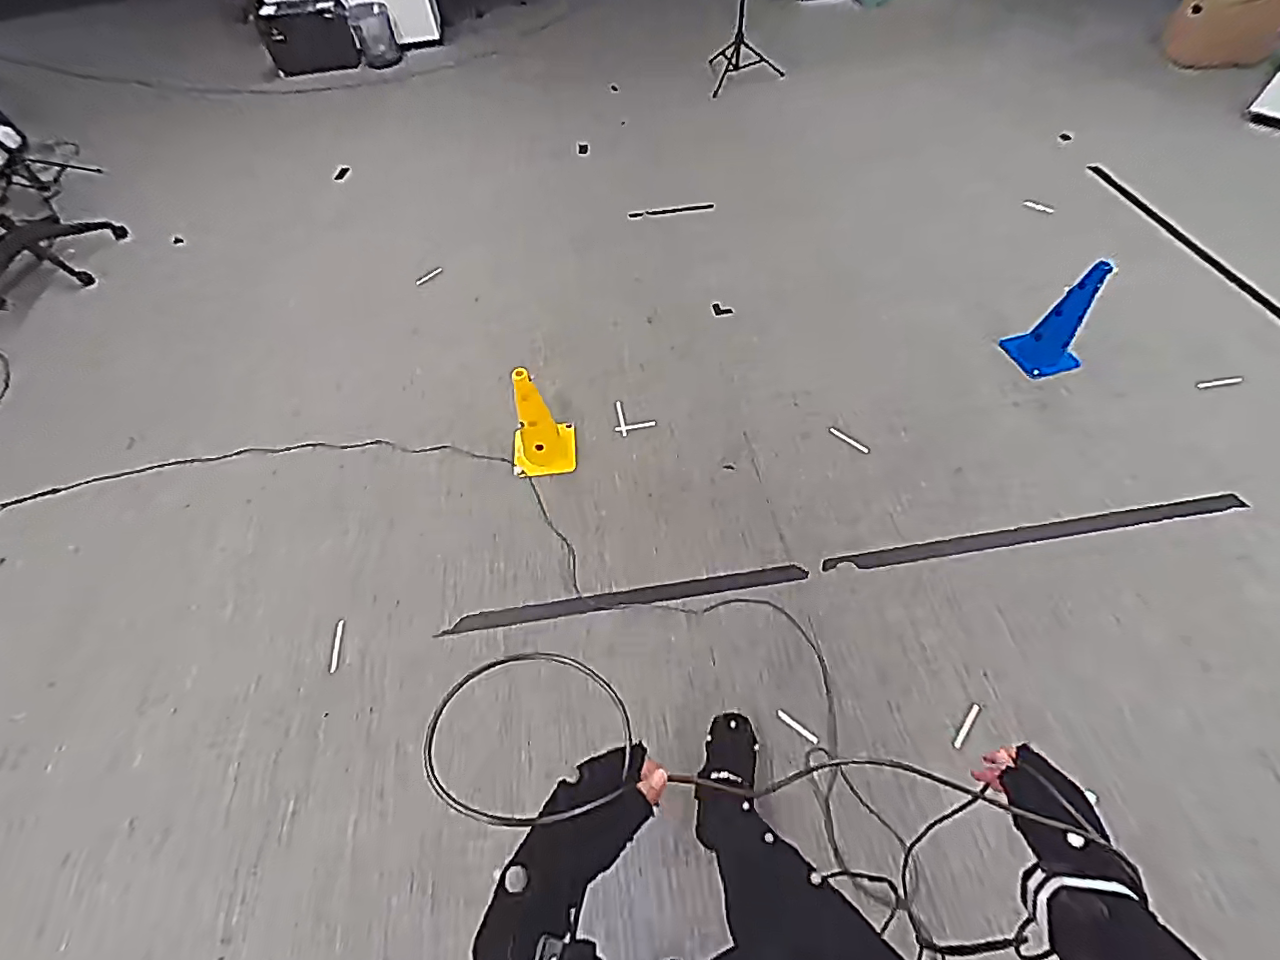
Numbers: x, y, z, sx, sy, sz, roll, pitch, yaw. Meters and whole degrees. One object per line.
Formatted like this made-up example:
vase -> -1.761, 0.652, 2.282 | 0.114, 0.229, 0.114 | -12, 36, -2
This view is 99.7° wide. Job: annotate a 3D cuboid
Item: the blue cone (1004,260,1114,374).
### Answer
blue cone -> 1.388, -0.544, 1.754 | 0.193, 0.380, 0.192 | -14, 57, -5
